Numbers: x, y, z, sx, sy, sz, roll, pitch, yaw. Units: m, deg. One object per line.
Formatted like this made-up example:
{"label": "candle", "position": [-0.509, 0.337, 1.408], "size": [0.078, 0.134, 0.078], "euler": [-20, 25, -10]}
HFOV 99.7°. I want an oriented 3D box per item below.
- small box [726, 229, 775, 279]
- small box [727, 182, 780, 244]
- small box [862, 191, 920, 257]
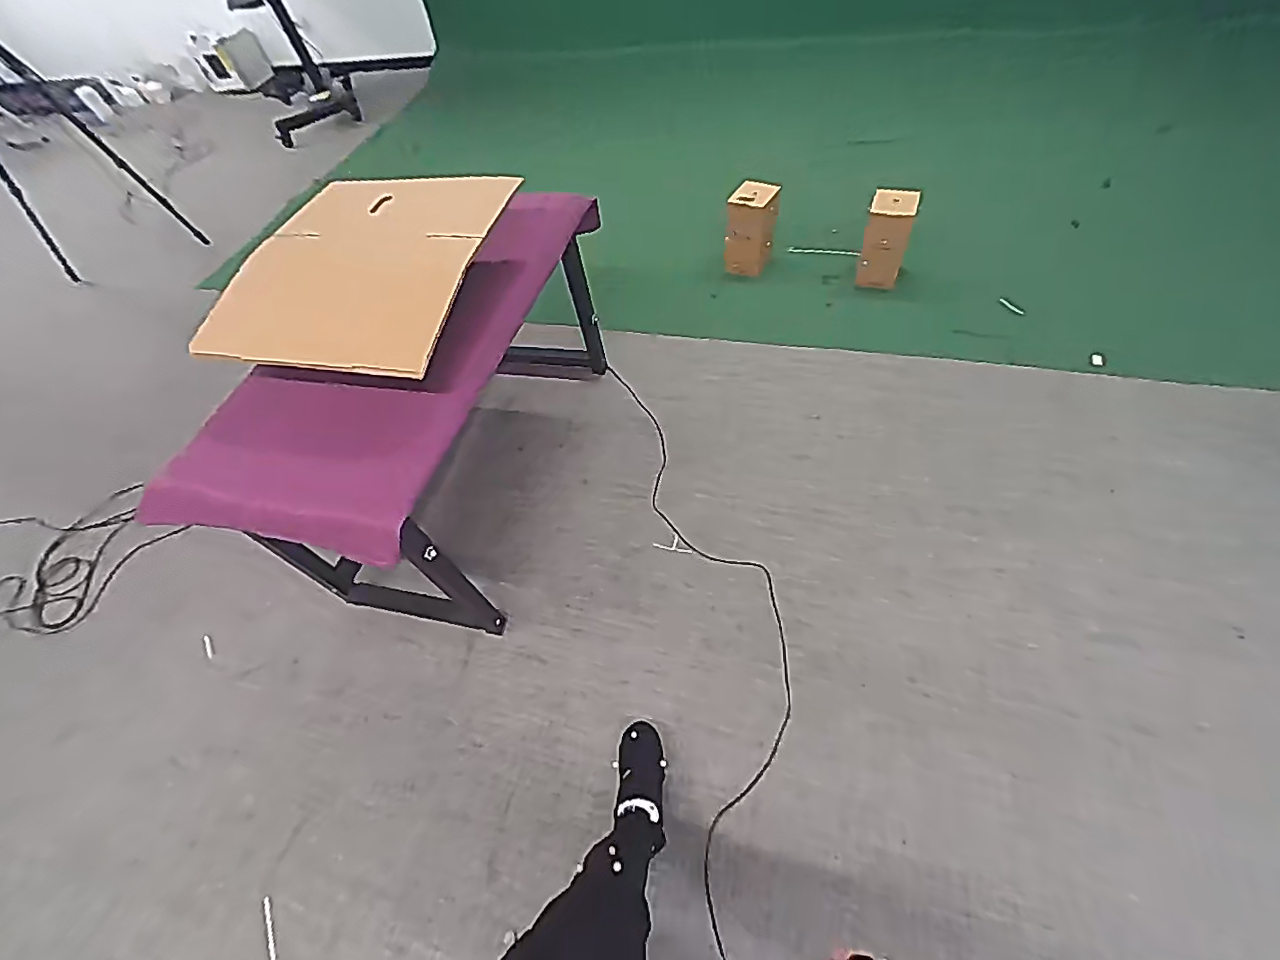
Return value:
{"label": "small box", "position": [0.503, -1.058, 2.479], "size": [0.168, 0.176, 0.179], "euler": [23, 63, 23]}
{"label": "small box", "position": [0.492, -1.154, 2.347], "size": [0.168, 0.176, 0.179], "euler": [26, 63, 23]}
{"label": "small box", "position": [1.006, -1.031, 2.176], "size": [0.168, 0.176, 0.179], "euler": [15, 59, 18]}
